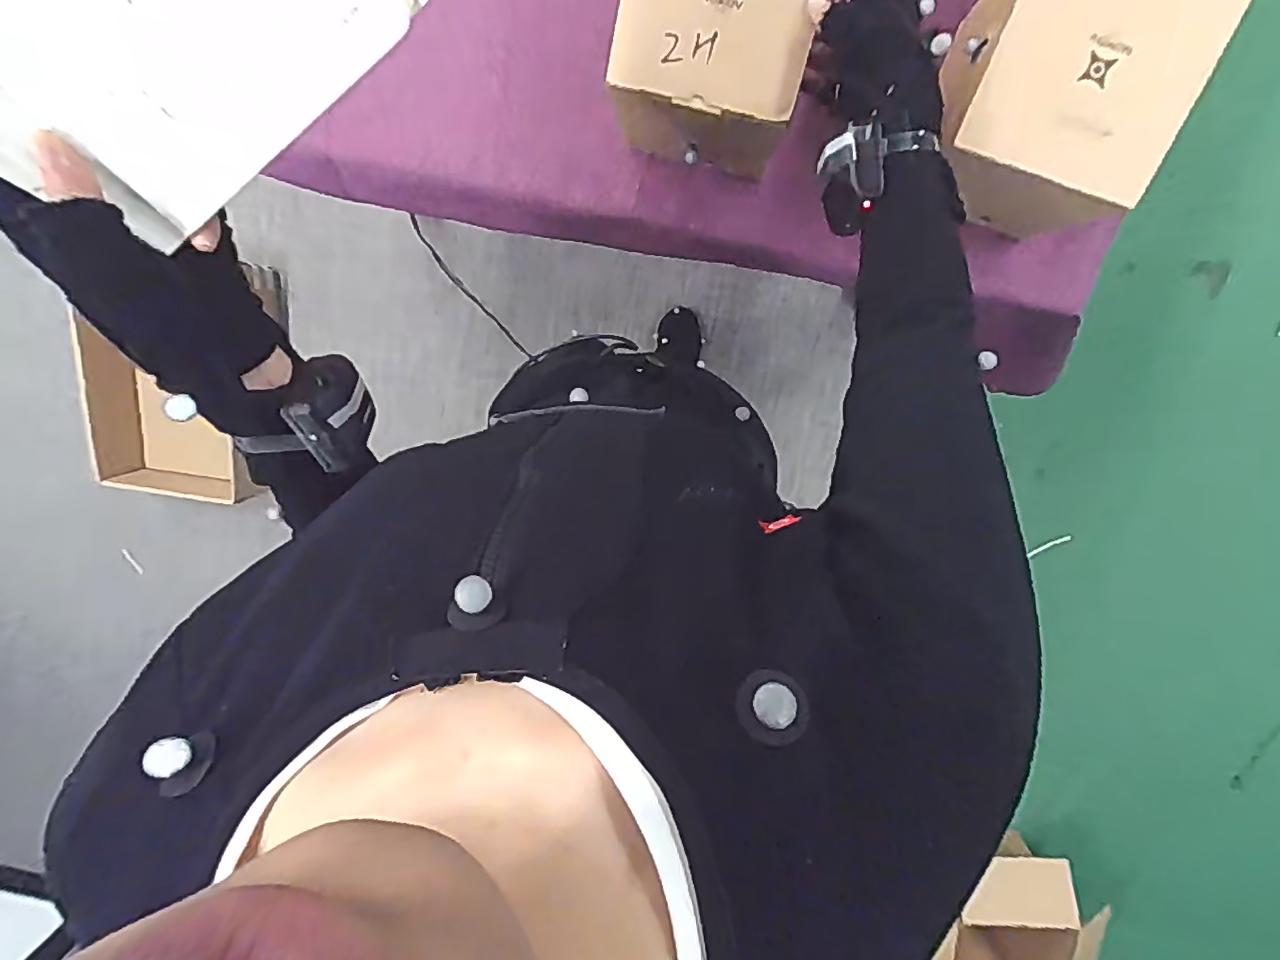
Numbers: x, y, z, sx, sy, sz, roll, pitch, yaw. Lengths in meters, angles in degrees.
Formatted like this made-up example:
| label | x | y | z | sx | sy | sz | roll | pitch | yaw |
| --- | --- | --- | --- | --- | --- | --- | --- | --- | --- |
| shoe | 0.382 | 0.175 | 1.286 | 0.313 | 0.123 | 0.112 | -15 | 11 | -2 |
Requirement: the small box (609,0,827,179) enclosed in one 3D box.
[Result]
| label | x | y | z | sx | sy | sz | roll | pitch | yaw |
| --- | --- | --- | --- | --- | --- | --- | --- | --- | --- |
| small box | 0.076 | -0.422 | 0.520 | 0.168 | 0.176 | 0.179 | 15 | 107 | 0 |

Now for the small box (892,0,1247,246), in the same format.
| label | x | y | z | sx | sy | sz | roll | pitch | yaw |
| --- | --- | --- | --- | --- | --- | --- | --- | --- | --- |
| small box | 0.375 | -0.348 | 0.518 | 0.168 | 0.176 | 0.179 | 21 | 107 | 0 |
